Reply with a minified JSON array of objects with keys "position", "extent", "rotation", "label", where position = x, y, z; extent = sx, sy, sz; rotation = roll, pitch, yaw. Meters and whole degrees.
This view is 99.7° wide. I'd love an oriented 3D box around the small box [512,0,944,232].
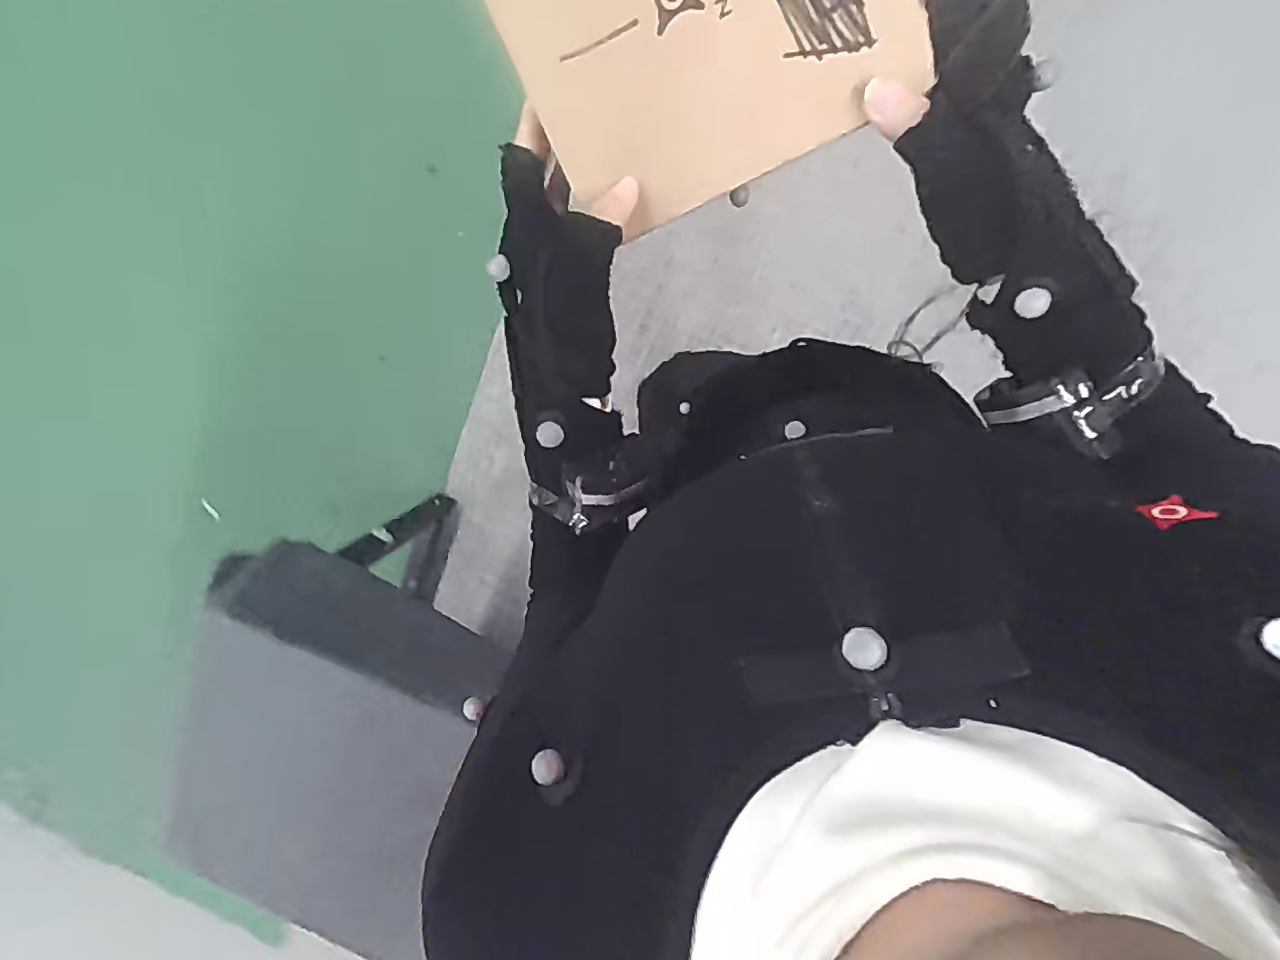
[{"position":[0.039,-0.267,0.304],"extent":[0.179,0.176,0.168],"rotation":[-17,117,18],"label":"small box"}]
